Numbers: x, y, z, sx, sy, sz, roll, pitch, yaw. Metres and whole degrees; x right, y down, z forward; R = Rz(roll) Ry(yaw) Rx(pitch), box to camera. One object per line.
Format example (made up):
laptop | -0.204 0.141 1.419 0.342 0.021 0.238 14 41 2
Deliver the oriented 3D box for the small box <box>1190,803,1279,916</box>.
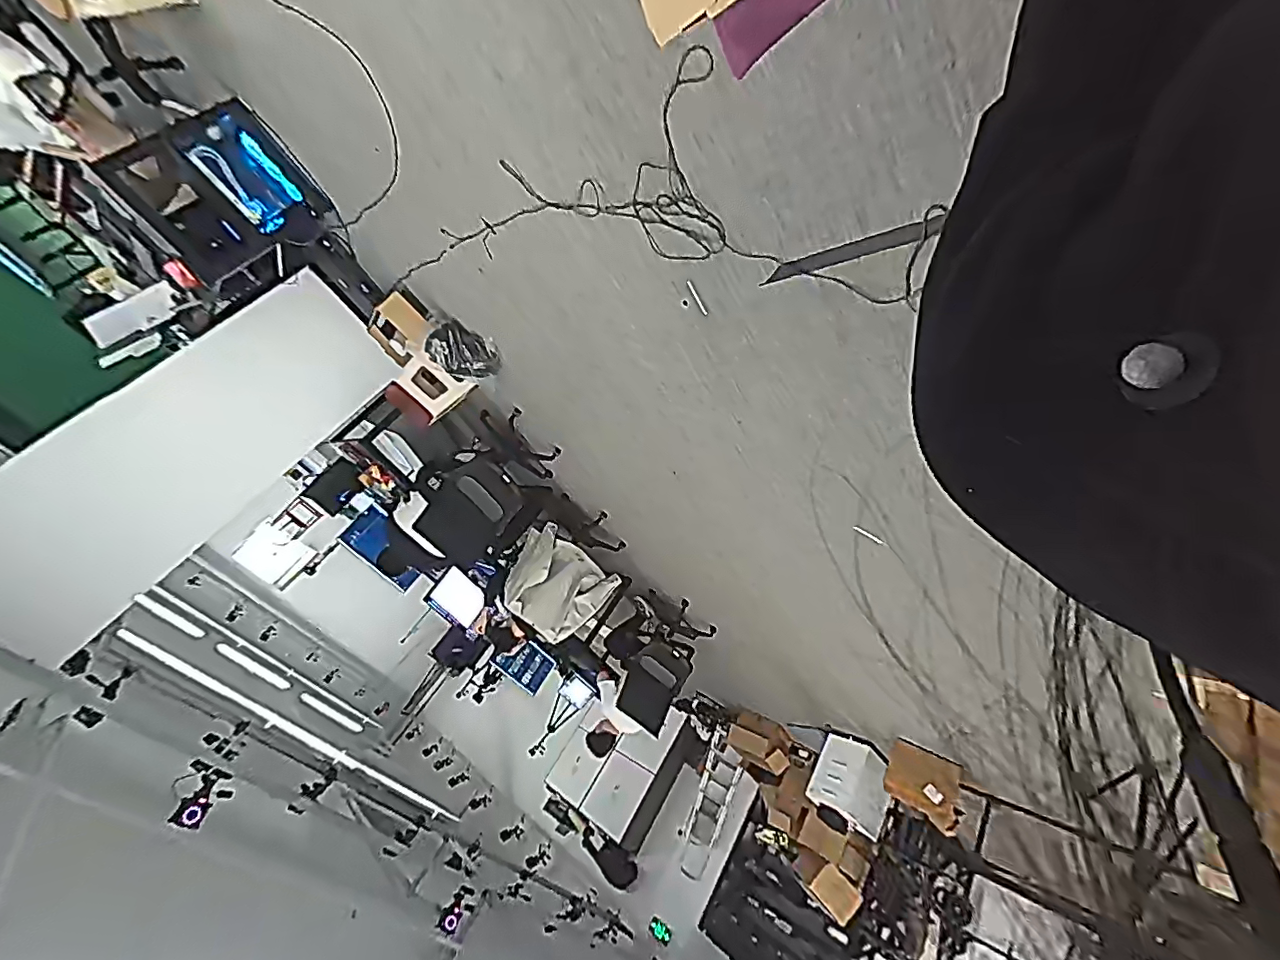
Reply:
small box | 1.559 0.971 1.398 0.179 0.176 0.168 5 139 46

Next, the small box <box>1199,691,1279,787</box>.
small box | 1.731 0.734 1.547 0.179 0.176 0.168 2 137 49

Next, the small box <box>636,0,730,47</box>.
small box | 0.074 -0.547 0.477 0.168 0.176 0.179 3 138 47
